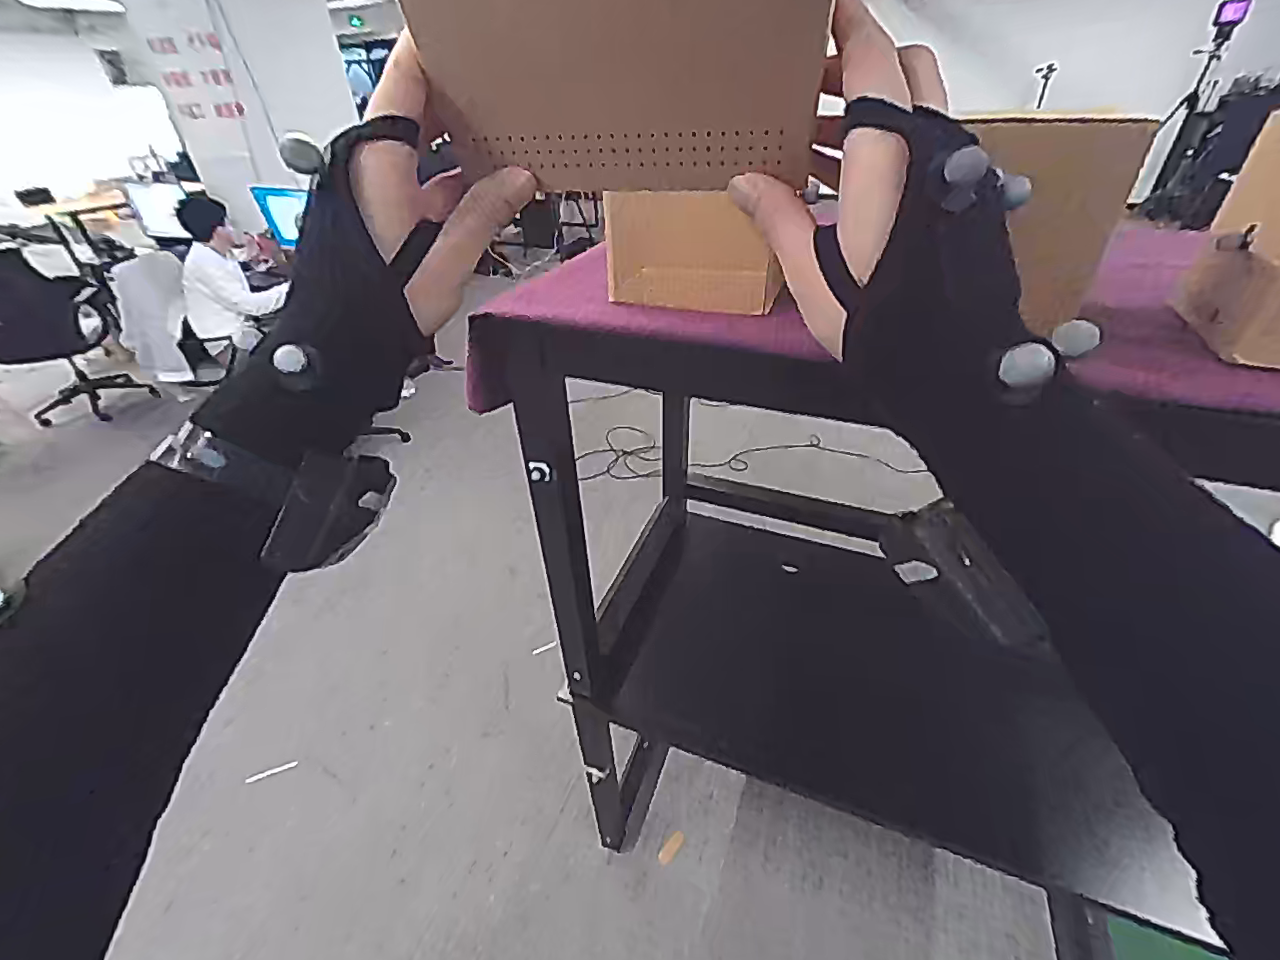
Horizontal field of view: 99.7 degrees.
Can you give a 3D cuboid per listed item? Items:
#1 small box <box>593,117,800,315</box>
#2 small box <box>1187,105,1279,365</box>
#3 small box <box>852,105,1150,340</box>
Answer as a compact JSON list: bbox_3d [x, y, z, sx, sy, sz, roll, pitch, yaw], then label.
[{"bbox_3d":[0.066,-0.290,0.590,0.179,0.176,0.168,11,38,17],"label":"small box"},{"bbox_3d":[0.570,-0.184,0.406,0.179,0.176,0.168,13,39,23],"label":"small box"},{"bbox_3d":[0.309,-0.242,0.503,0.179,0.176,0.168,14,39,21],"label":"small box"}]
